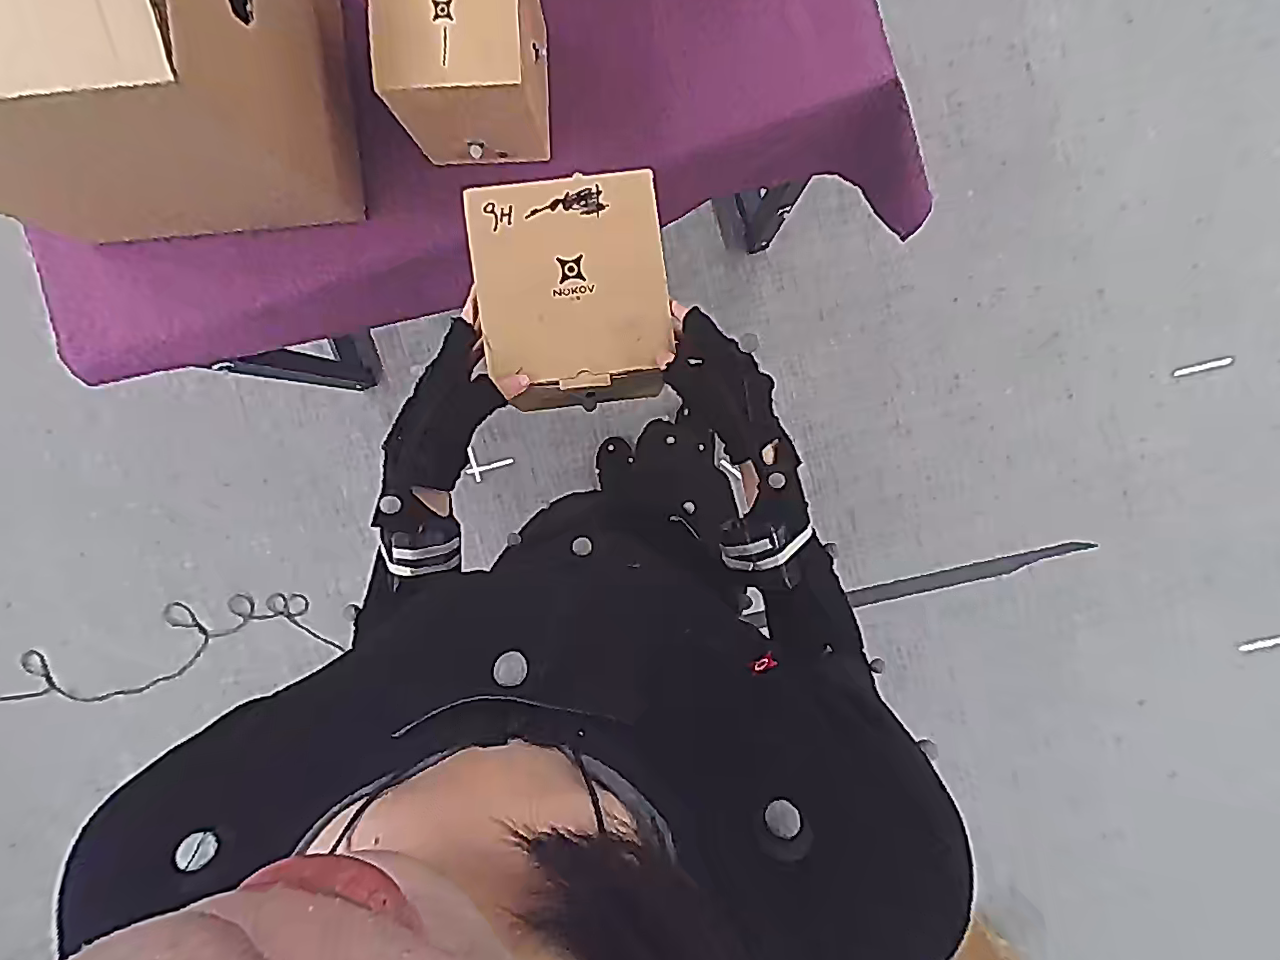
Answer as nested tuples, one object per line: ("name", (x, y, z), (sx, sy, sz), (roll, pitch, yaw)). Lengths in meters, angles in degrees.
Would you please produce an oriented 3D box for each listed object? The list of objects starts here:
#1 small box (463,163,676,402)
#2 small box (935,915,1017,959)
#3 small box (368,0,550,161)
("small box", (-0.061, -0.175, 0.537), (0.168, 0.176, 0.179), (-8, 92, -3))
("small box", (0.968, 1.391, 1.515), (0.168, 0.176, 0.179), (39, 93, -3))
("small box", (-0.205, -0.517, 0.650), (0.168, 0.176, 0.179), (-1, 95, 1))
